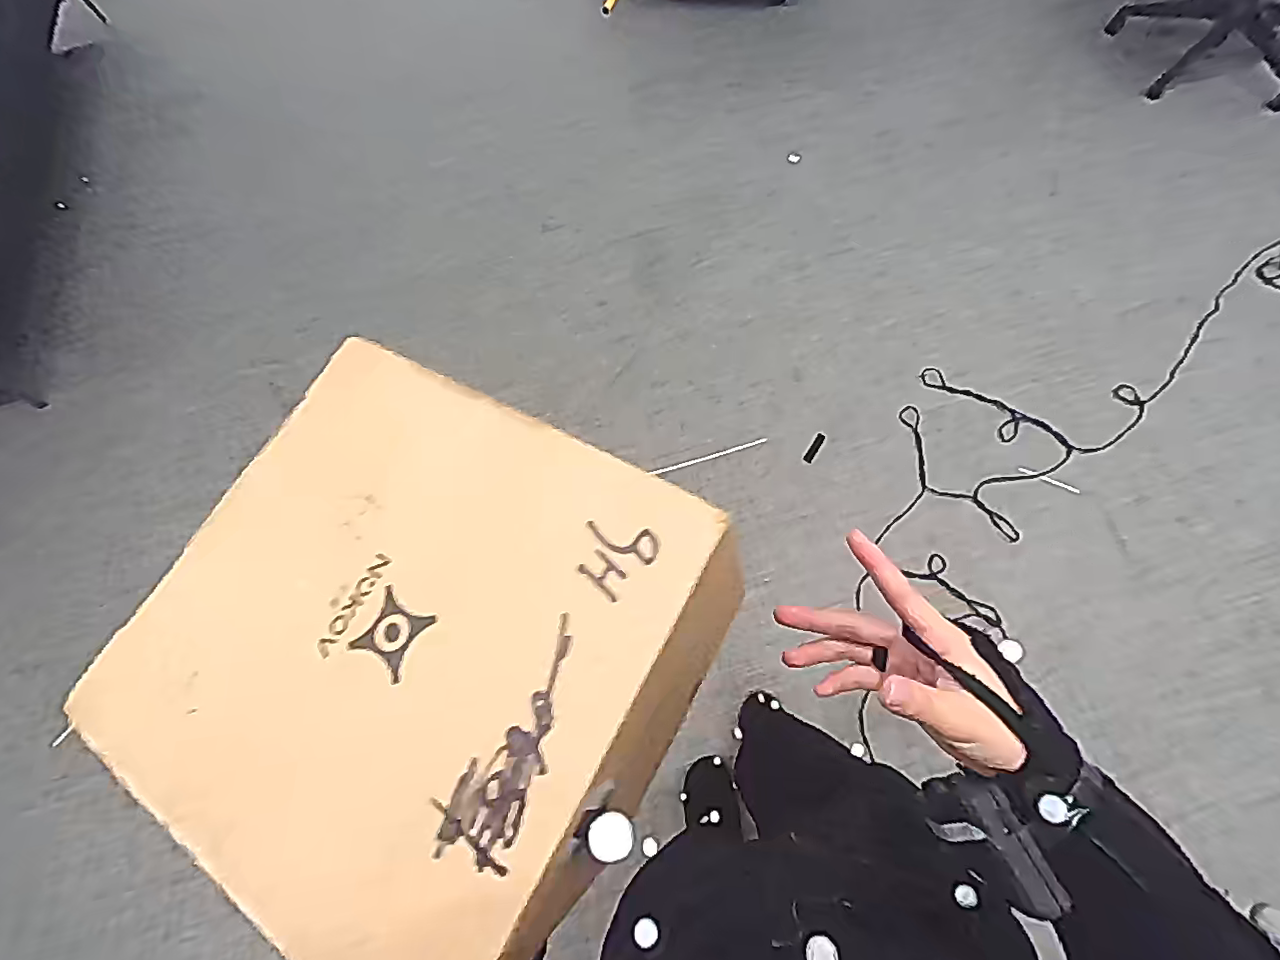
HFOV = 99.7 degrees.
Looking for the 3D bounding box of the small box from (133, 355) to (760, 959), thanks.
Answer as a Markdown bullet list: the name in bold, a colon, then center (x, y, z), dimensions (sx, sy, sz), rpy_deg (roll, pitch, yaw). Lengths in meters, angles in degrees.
- **small box**: center (-0.057, 0.076, 0.257), dimensions (0.179, 0.176, 0.168), rpy_deg (26, 78, 20)
